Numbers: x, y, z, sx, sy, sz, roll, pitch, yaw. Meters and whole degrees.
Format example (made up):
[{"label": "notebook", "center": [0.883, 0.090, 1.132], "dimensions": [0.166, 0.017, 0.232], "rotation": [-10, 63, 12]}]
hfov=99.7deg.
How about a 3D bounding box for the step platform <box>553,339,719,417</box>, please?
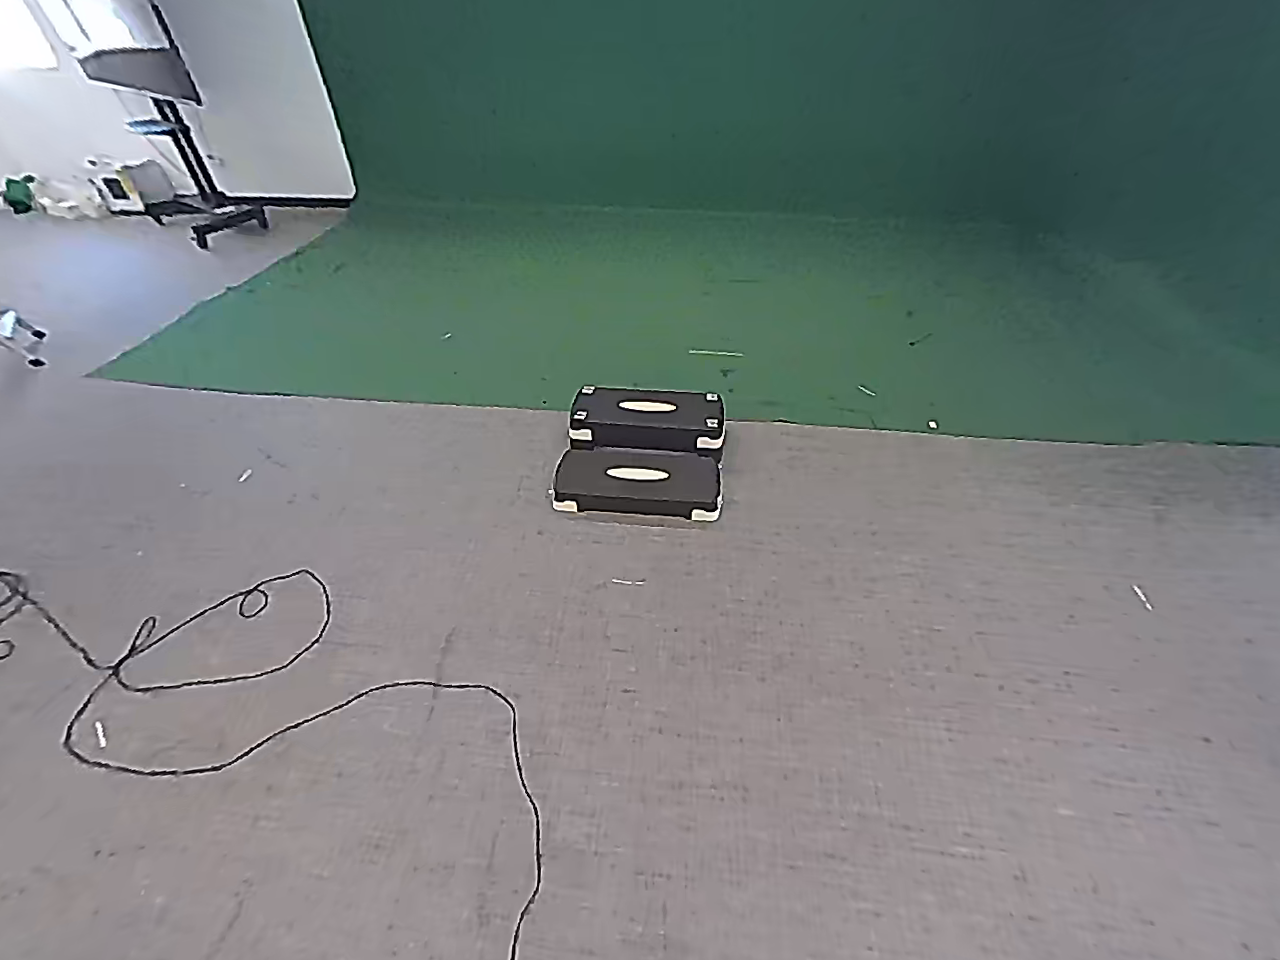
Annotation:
[{"label": "step platform", "center": [-0.013, -0.432, 2.294], "dimensions": [0.684, 0.204, 0.286], "rotation": [3, 43, 5]}]
